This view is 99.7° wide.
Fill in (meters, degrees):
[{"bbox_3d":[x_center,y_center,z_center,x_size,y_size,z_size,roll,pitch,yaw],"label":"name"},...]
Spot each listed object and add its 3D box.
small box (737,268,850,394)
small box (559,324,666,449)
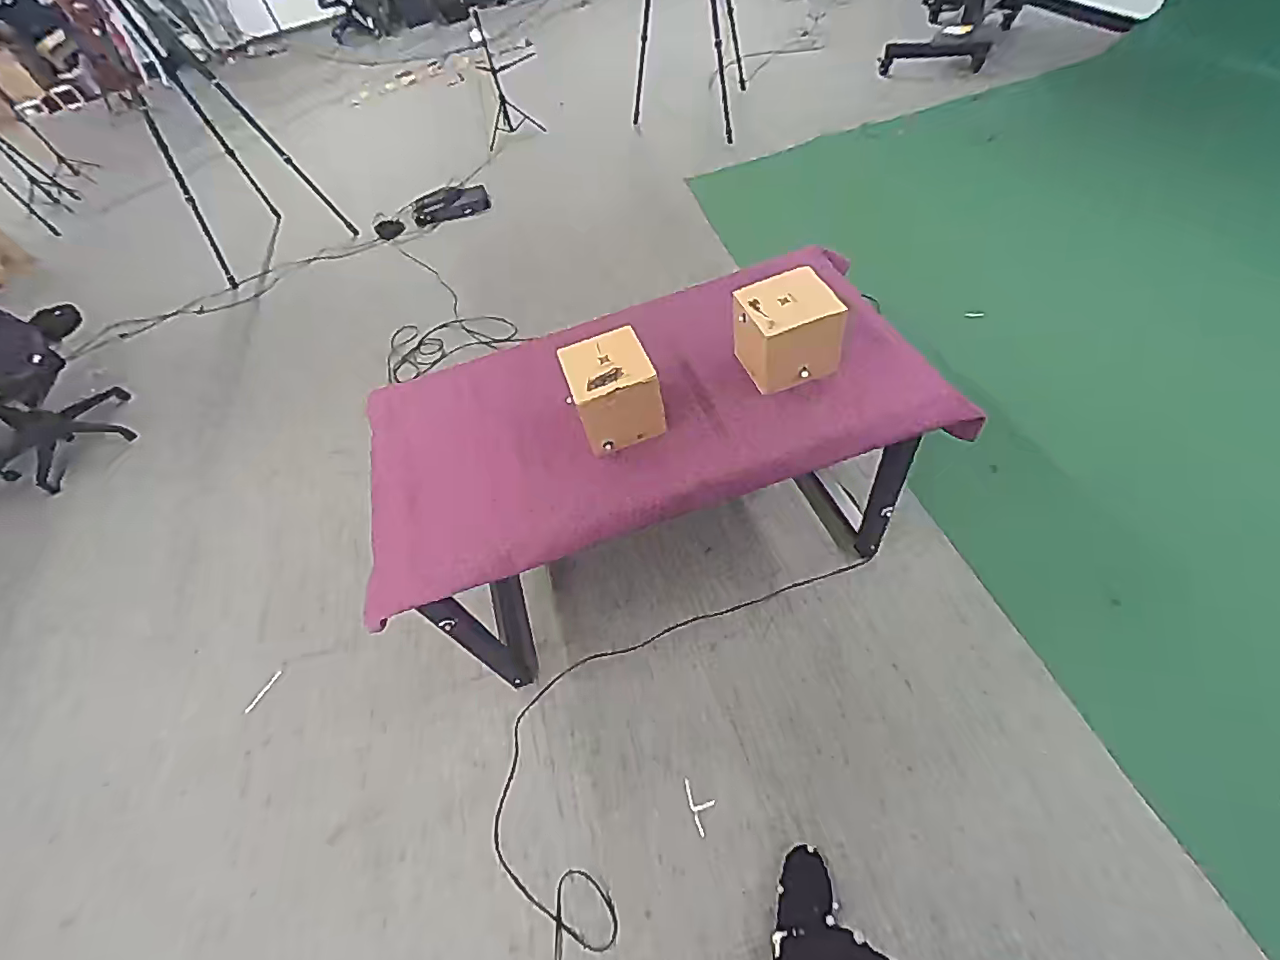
[{"bbox_3d":[0.315,-0.314,1.150,0.179,0.176,0.168,-19,53,-3],"label":"small box"},{"bbox_3d":[-0.054,-0.186,1.128,0.168,0.176,0.179,-20,52,-4],"label":"small box"}]
